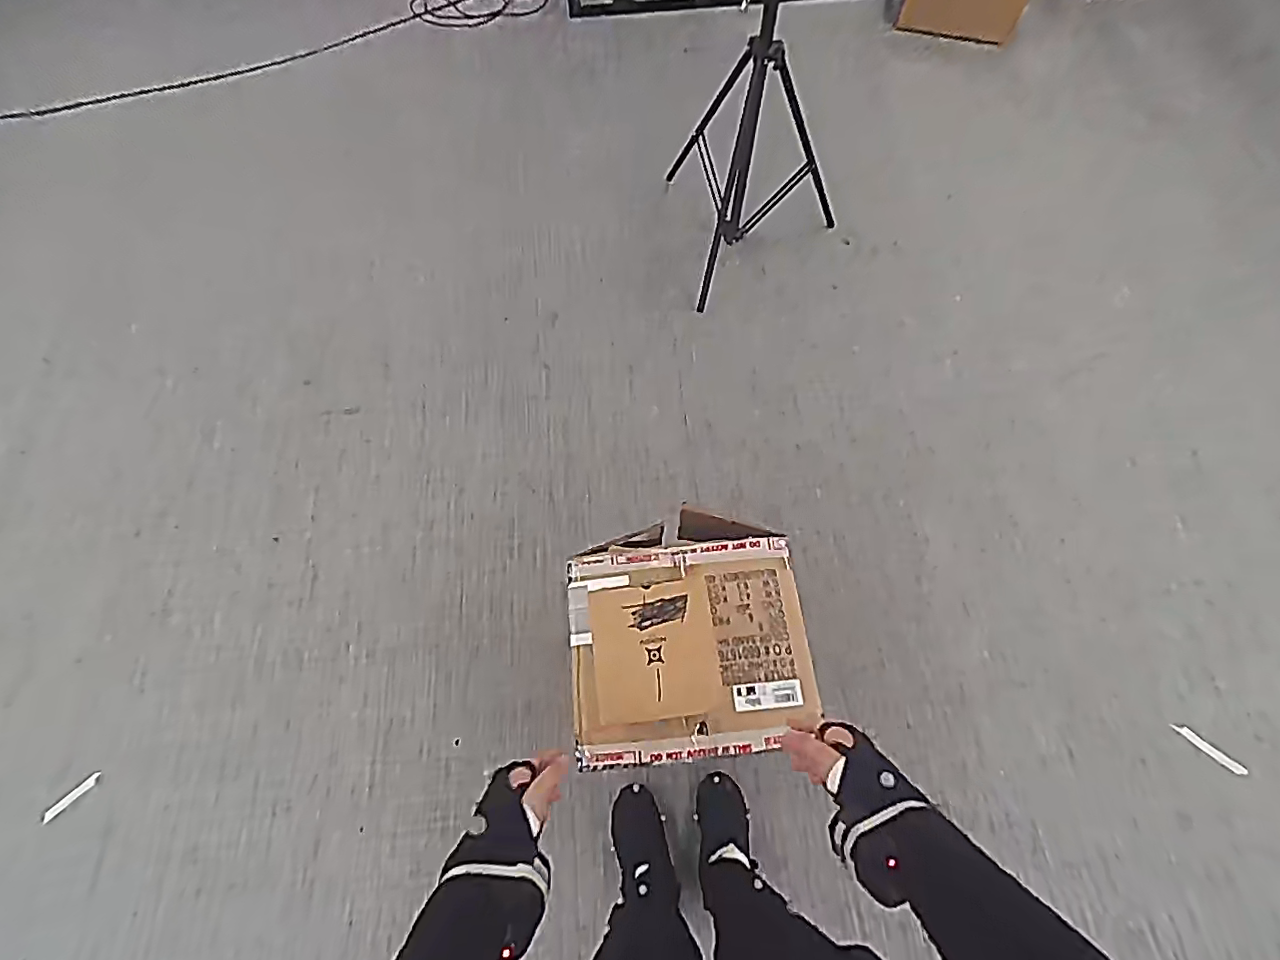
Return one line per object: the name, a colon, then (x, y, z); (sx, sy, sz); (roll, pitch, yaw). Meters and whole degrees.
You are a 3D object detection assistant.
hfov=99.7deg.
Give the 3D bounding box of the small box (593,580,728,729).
small box: (0.025, 0.254, 0.792); (0.168, 0.176, 0.179); (-8, 71, 0)
